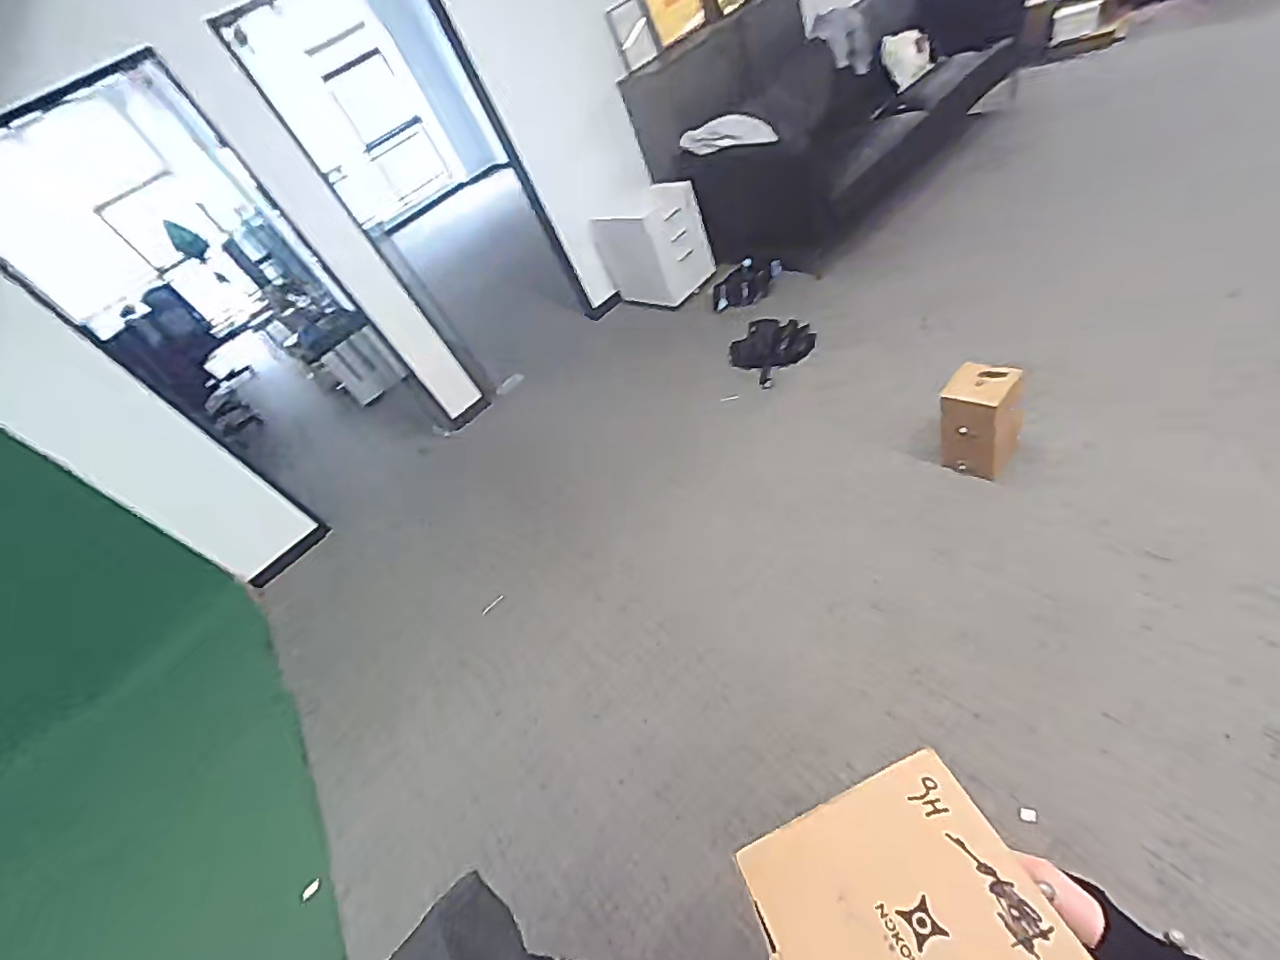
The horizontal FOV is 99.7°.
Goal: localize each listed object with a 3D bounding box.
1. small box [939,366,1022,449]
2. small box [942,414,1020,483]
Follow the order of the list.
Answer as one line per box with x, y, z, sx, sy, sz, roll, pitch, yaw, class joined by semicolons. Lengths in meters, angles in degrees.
1.066;-0.228;1.698;0.179;0.176;0.168;-45;41;-18;small box
1.134;-0.121;1.803;0.179;0.176;0.168;-46;41;-17;small box
